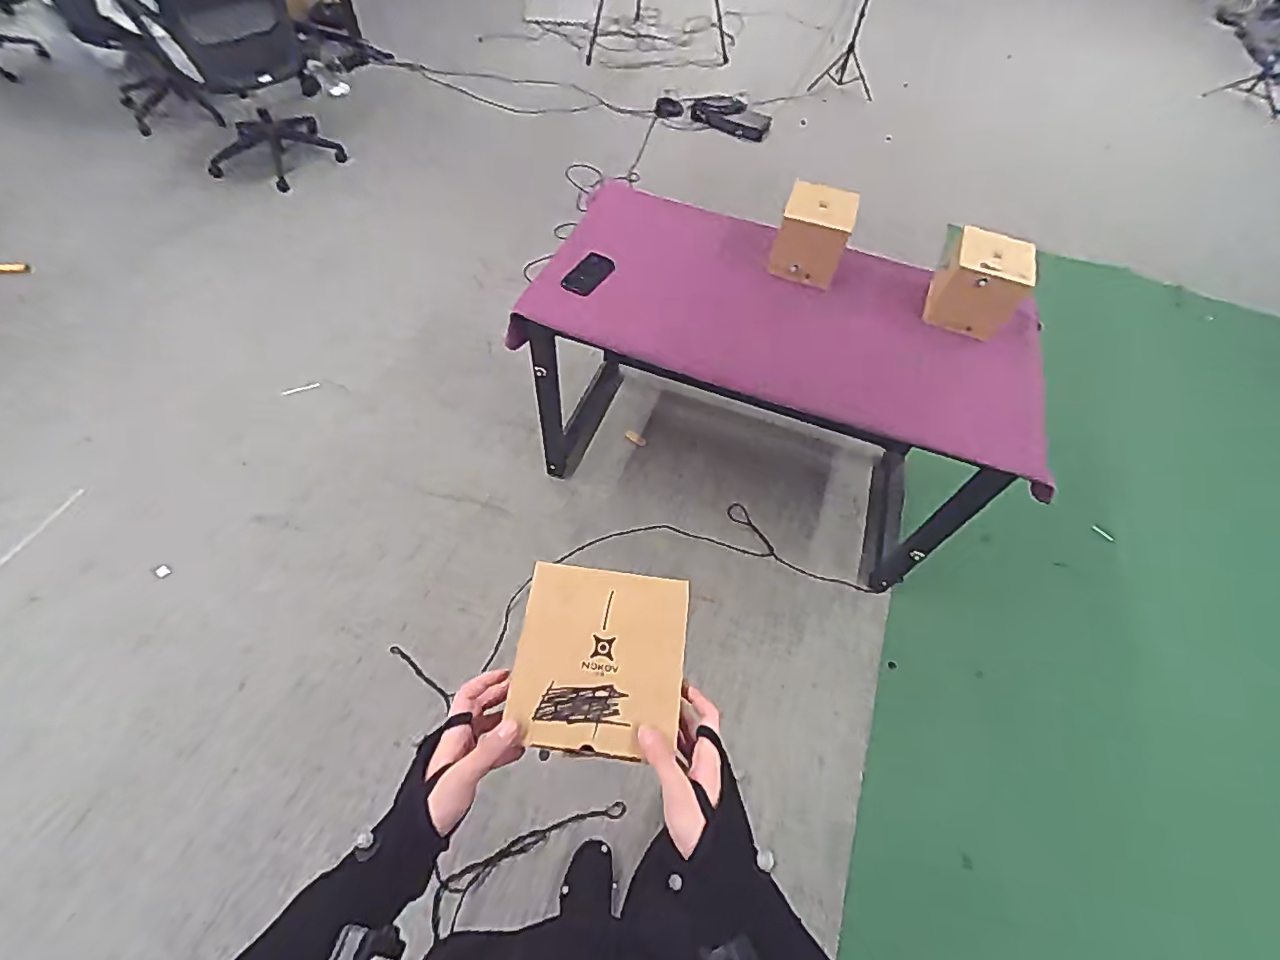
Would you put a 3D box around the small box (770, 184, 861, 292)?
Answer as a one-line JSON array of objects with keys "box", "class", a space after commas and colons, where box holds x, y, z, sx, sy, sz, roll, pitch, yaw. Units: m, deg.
[{"box": [0.442, -0.615, 1.379, 0.168, 0.176, 0.179, 19, 58, 8], "class": "small box"}]

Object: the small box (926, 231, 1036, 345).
[{"box": [0.818, -0.463, 1.308, 0.168, 0.176, 0.179, 21, 57, 10], "class": "small box"}]

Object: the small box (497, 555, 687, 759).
[{"box": [-0.045, 0.201, 0.600, 0.168, 0.176, 0.179, 8, 63, 0], "class": "small box"}]
